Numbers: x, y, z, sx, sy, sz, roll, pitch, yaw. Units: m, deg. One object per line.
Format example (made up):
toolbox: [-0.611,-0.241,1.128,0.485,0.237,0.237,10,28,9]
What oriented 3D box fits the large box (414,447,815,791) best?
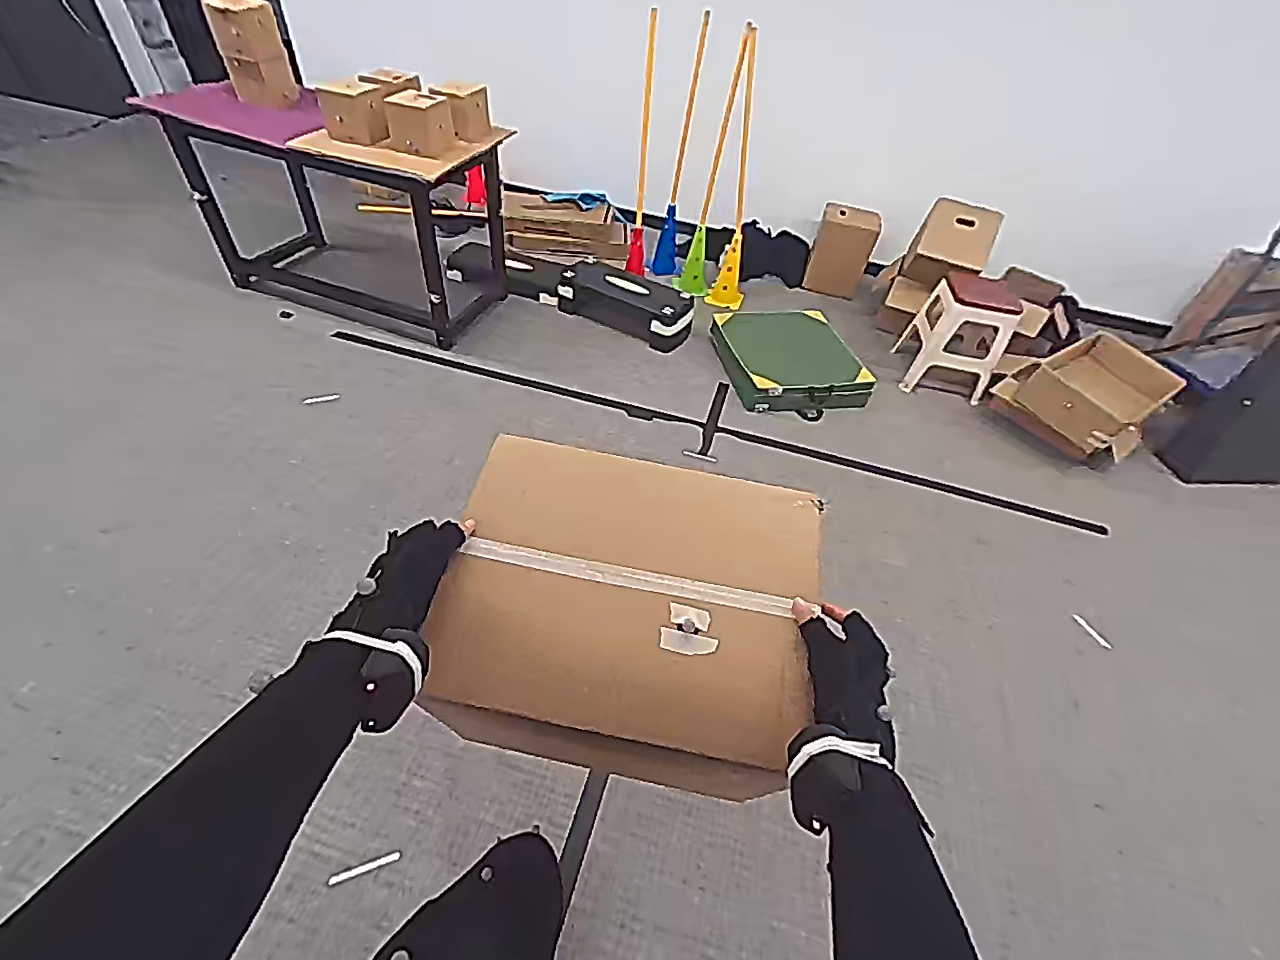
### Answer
large box: [-0.016,0.196,0.726,0.408,0.320,0.320,11,56,2]
